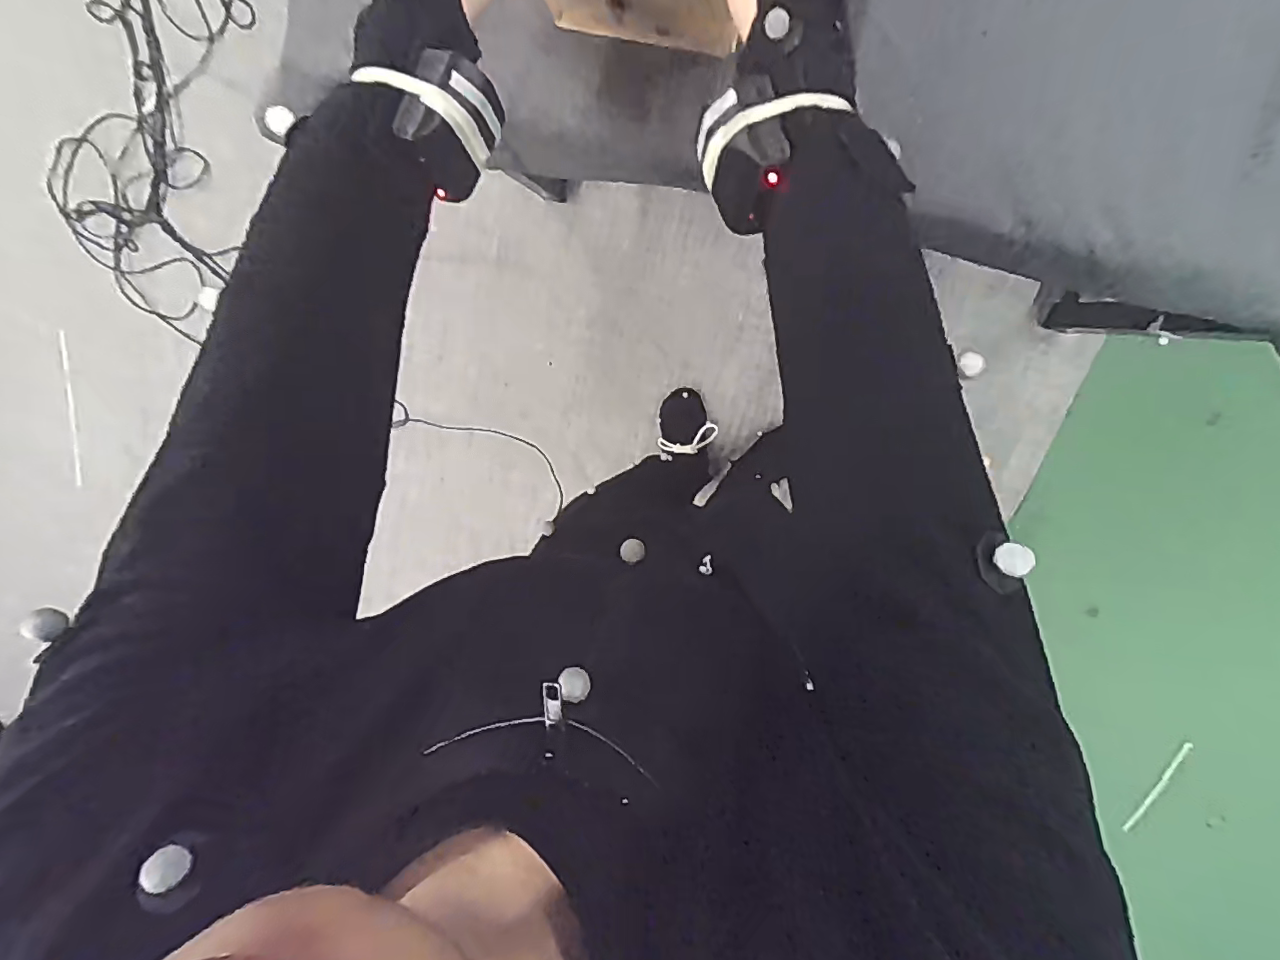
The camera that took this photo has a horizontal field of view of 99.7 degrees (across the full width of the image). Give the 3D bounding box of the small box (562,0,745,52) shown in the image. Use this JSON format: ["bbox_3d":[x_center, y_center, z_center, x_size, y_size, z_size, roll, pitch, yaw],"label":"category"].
[{"bbox_3d":[0.012,-0.457,0.386,0.168,0.176,0.179,13,108,4],"label":"small box"}]
